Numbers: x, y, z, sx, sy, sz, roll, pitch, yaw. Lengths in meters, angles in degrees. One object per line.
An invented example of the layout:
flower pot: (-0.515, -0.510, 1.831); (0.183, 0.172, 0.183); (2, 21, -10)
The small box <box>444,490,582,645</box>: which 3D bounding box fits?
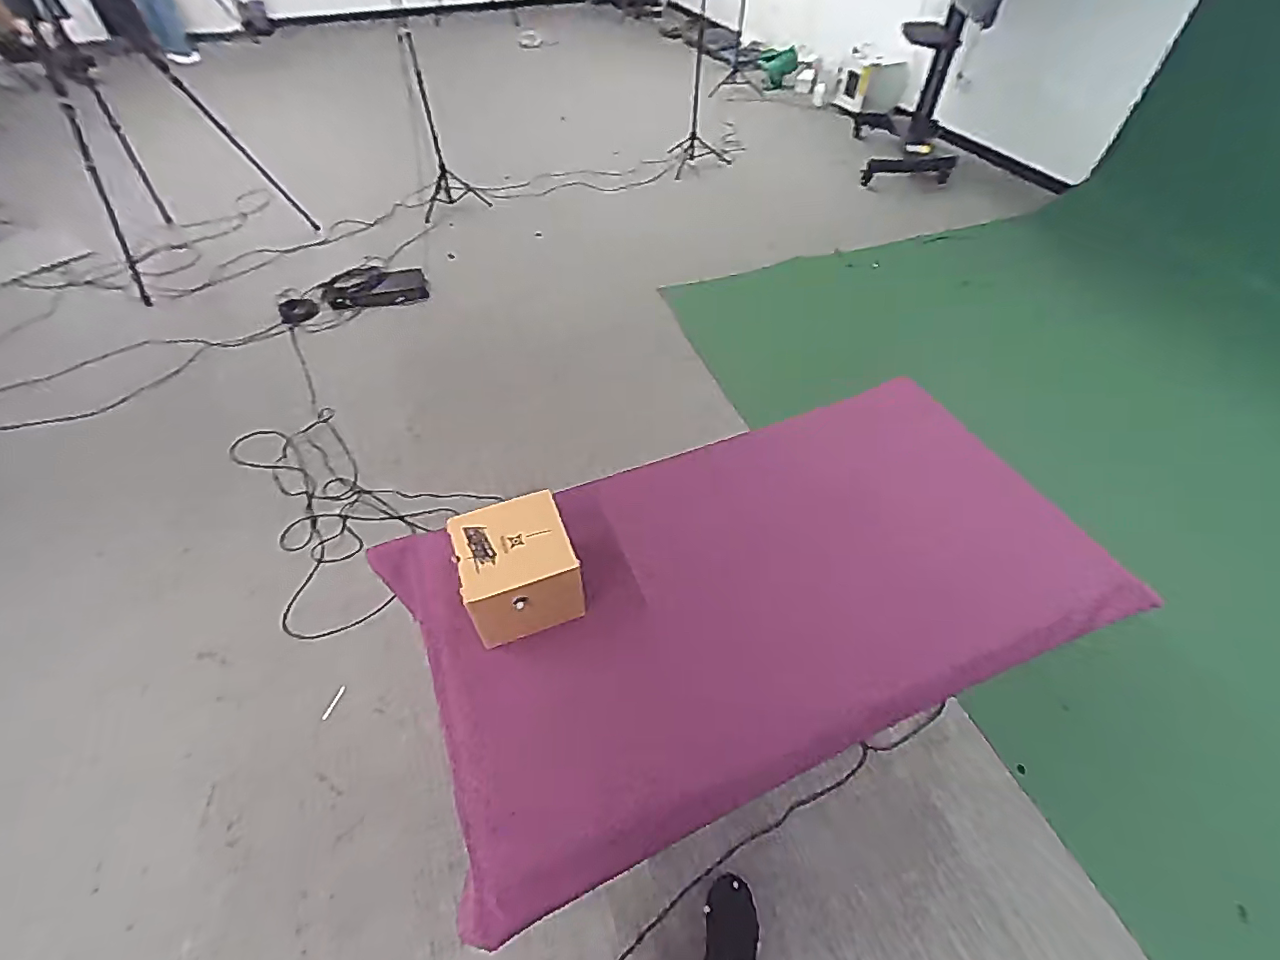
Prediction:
small box: (-0.206, 0.150, 0.902); (0.179, 0.176, 0.168); (-17, 53, -15)
